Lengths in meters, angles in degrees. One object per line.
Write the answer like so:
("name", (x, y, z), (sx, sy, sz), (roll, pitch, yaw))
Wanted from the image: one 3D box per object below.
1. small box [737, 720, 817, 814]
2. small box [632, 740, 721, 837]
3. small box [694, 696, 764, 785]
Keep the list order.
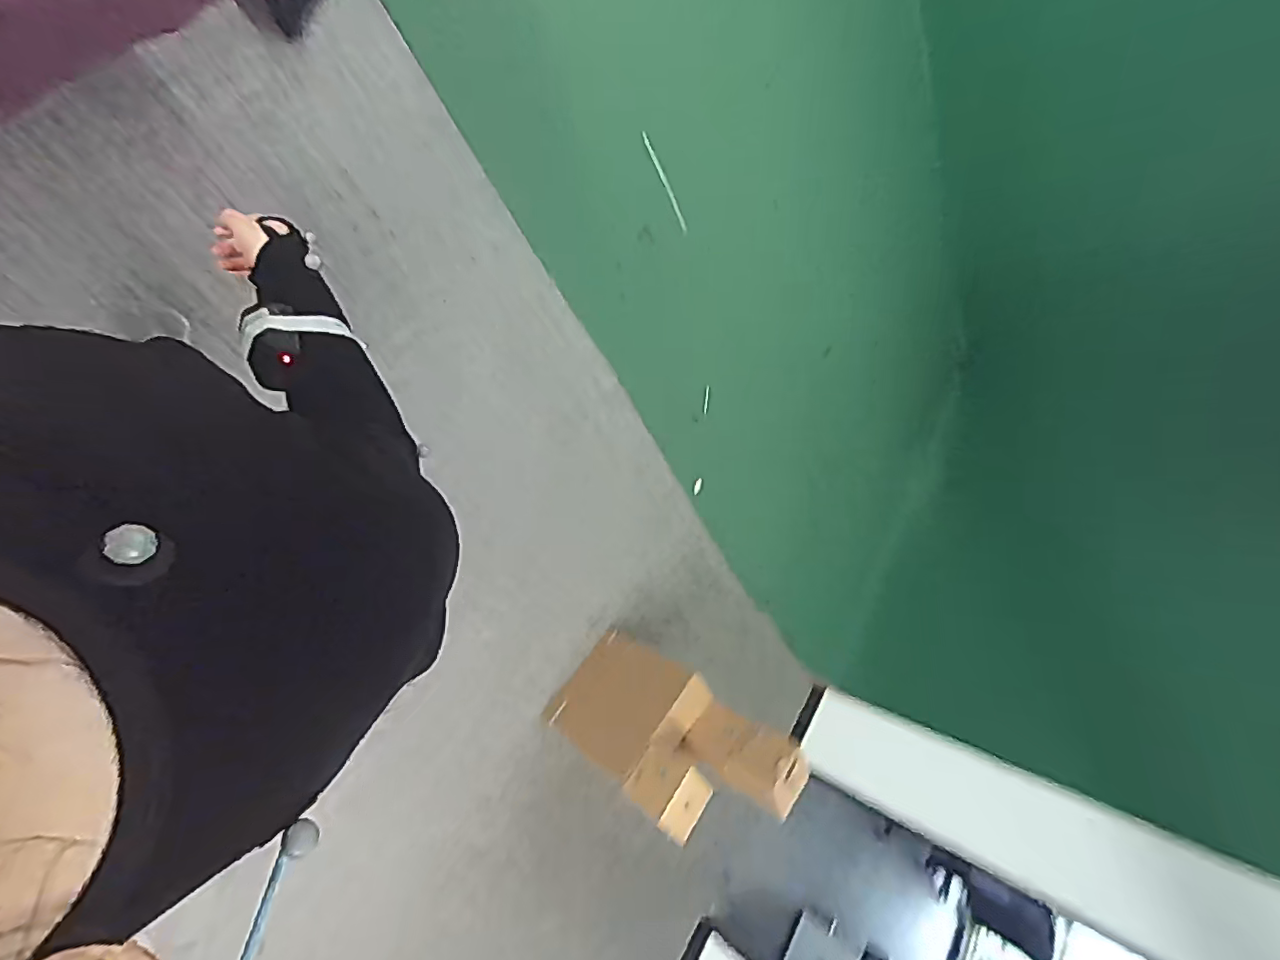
("small box", (0.424, 0.881, 1.682), (0.168, 0.176, 0.179), (-41, 124, -30))
("small box", (0.107, 0.915, 1.620), (0.168, 0.176, 0.179), (-50, 127, -24))
("small box", (0.309, 0.858, 1.799), (0.179, 0.176, 0.168), (-42, 123, -28))
